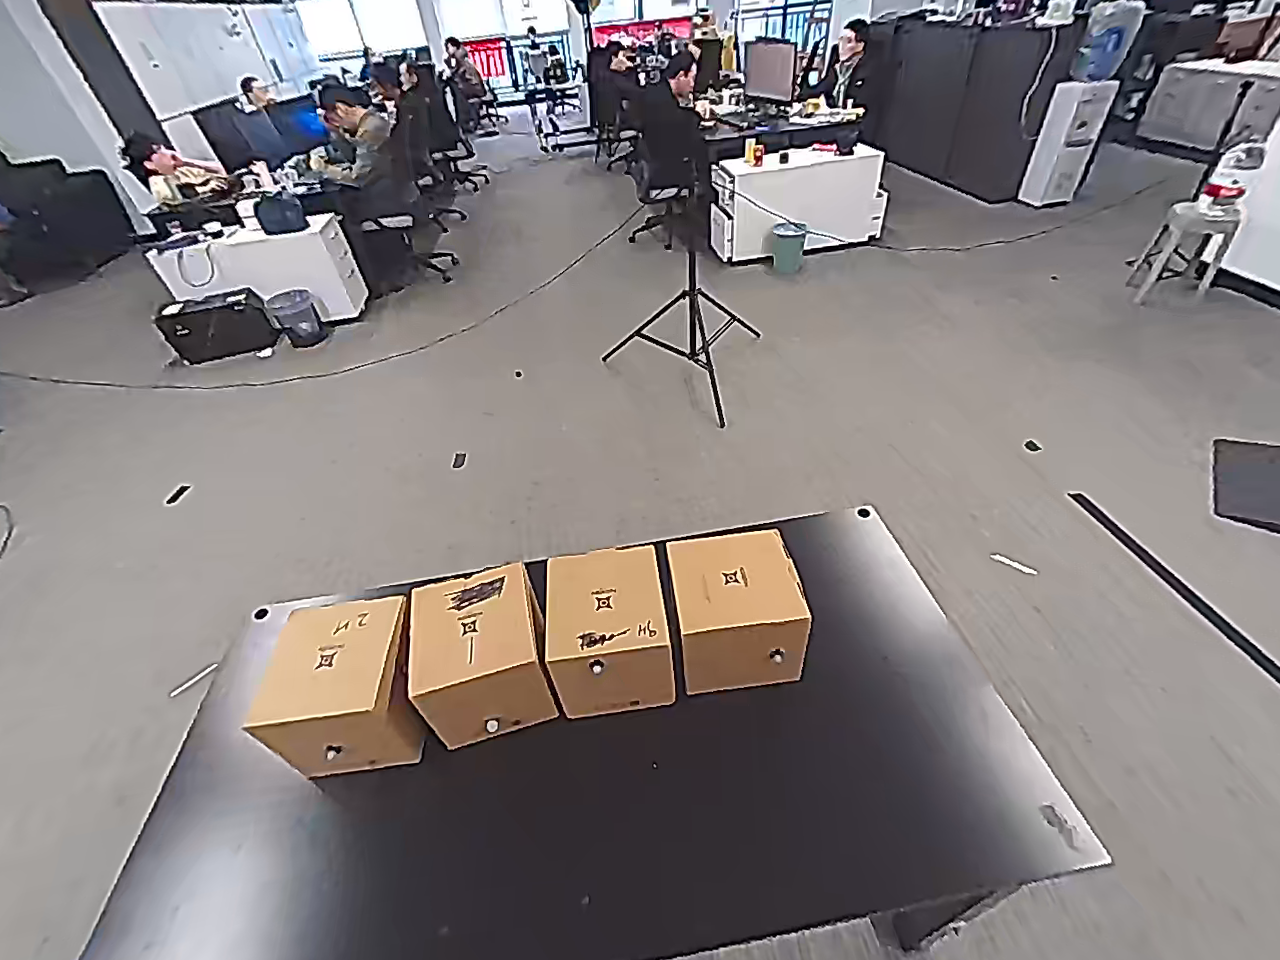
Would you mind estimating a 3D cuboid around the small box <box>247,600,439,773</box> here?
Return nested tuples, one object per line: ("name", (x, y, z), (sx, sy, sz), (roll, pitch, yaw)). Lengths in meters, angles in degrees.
("small box", (-0.408, 0.303, 0.783), (0.168, 0.176, 0.179), (-7, 41, -2))
